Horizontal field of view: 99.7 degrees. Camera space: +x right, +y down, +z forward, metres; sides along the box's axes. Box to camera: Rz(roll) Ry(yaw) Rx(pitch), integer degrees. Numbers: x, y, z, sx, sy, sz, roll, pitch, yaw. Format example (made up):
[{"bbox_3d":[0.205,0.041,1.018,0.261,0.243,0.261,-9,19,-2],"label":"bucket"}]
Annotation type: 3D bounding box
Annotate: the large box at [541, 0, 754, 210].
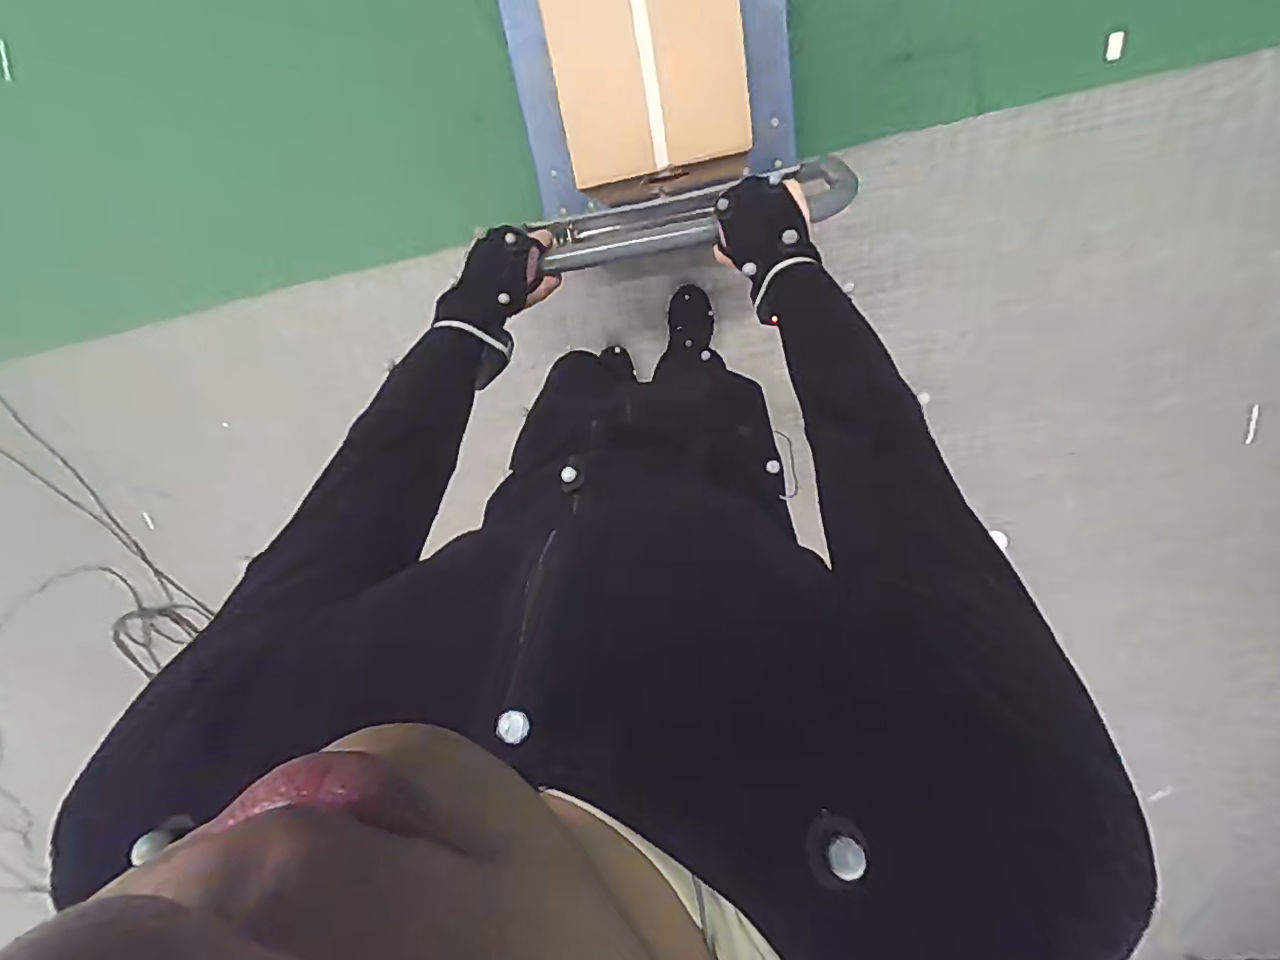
[{"bbox_3d":[0.027,-0.765,1.010,0.320,0.320,0.408,-7,111,10],"label":"large box"}]
